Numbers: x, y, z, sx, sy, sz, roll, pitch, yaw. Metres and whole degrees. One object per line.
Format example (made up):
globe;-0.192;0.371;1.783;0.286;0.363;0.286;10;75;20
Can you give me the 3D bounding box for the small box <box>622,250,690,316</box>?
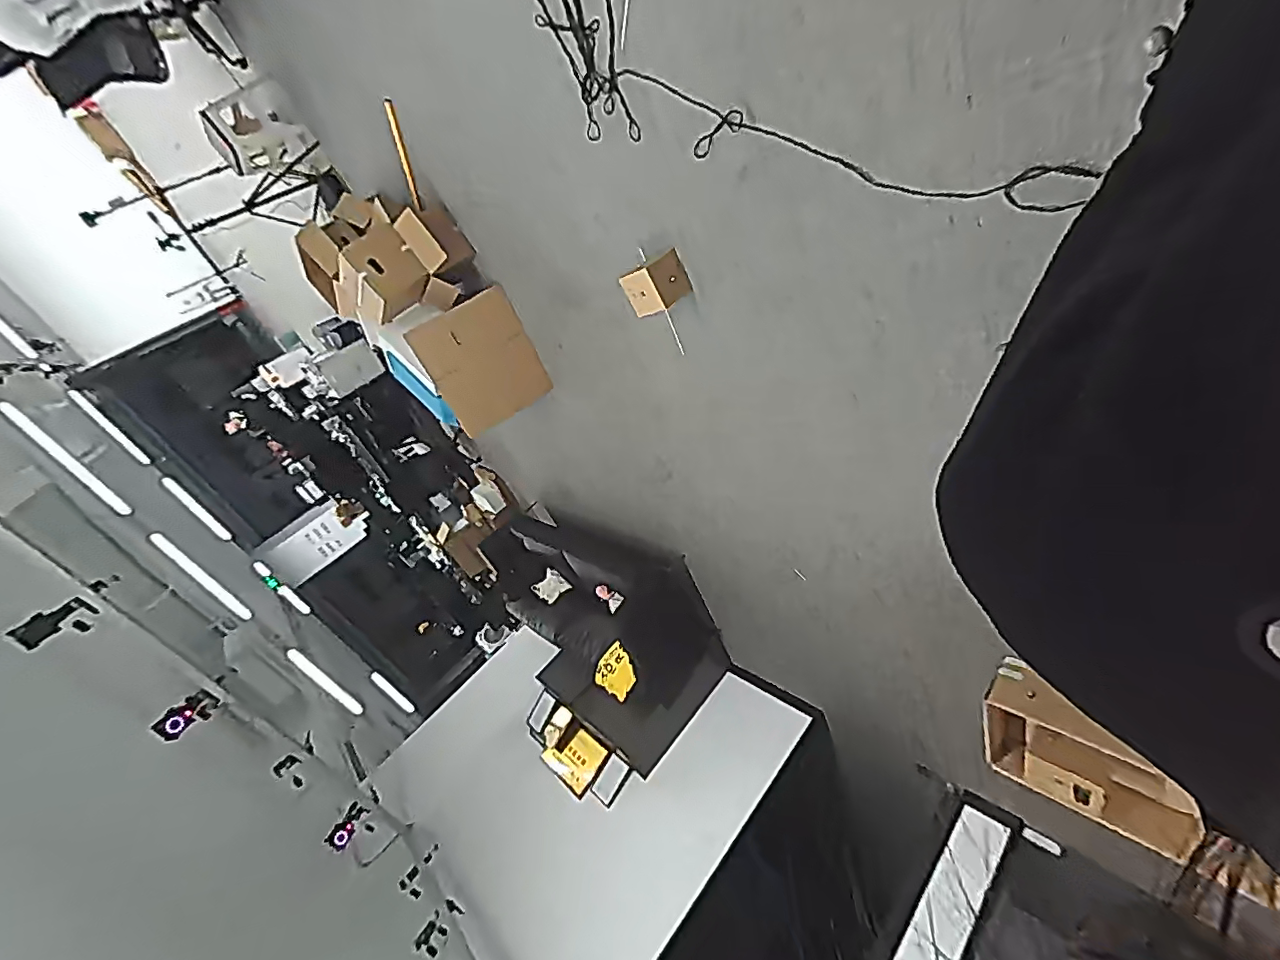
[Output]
small box;0.069;-0.752;2.063;0.179;0.176;0.168;7;134;54
